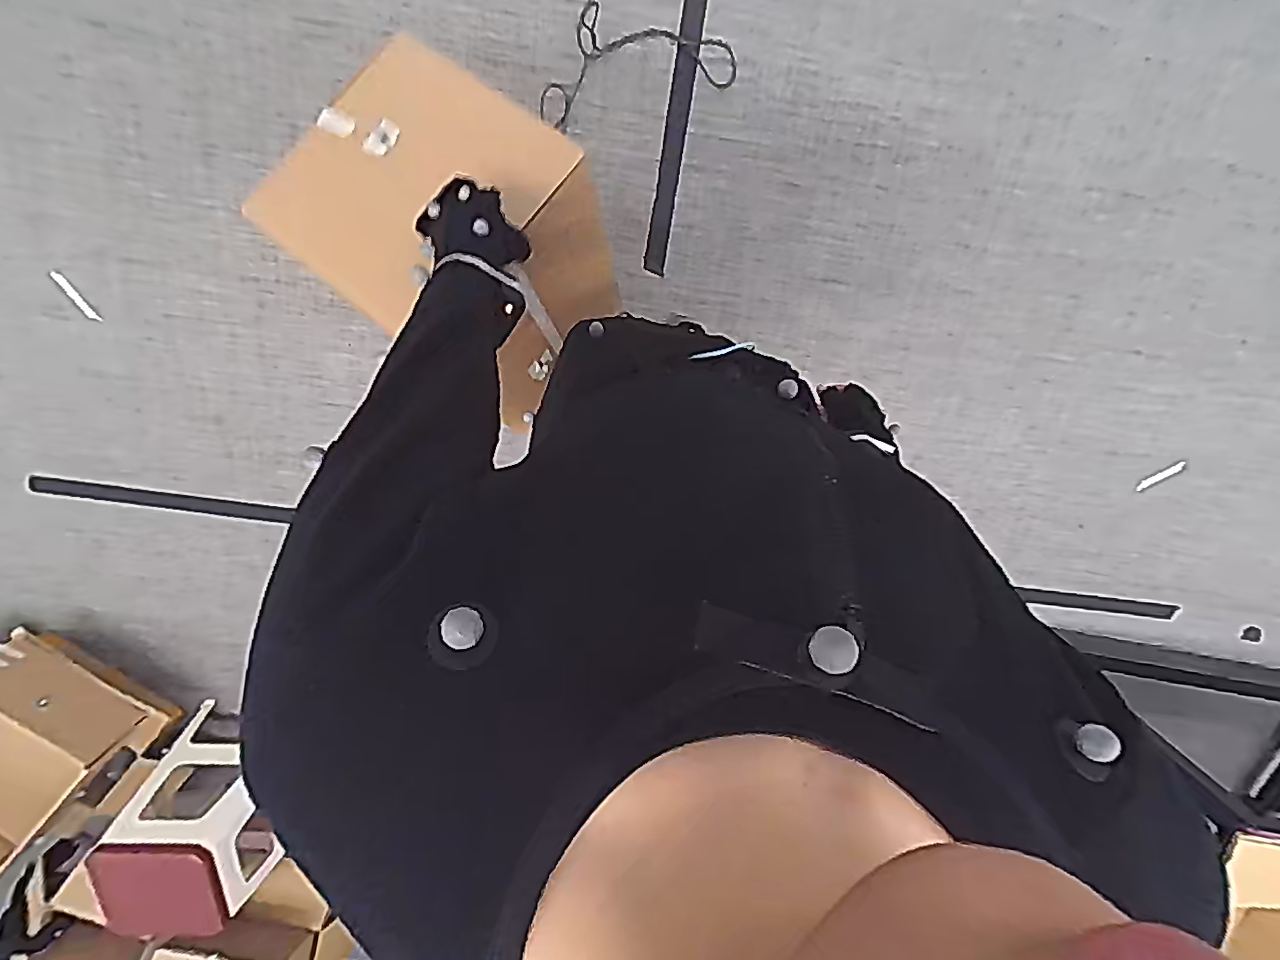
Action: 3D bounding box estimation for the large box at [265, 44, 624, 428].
[{"bbox_3d":[-0.253,-0.332,0.854,0.320,0.408,0.320,40,85,7],"label":"large box"}]
